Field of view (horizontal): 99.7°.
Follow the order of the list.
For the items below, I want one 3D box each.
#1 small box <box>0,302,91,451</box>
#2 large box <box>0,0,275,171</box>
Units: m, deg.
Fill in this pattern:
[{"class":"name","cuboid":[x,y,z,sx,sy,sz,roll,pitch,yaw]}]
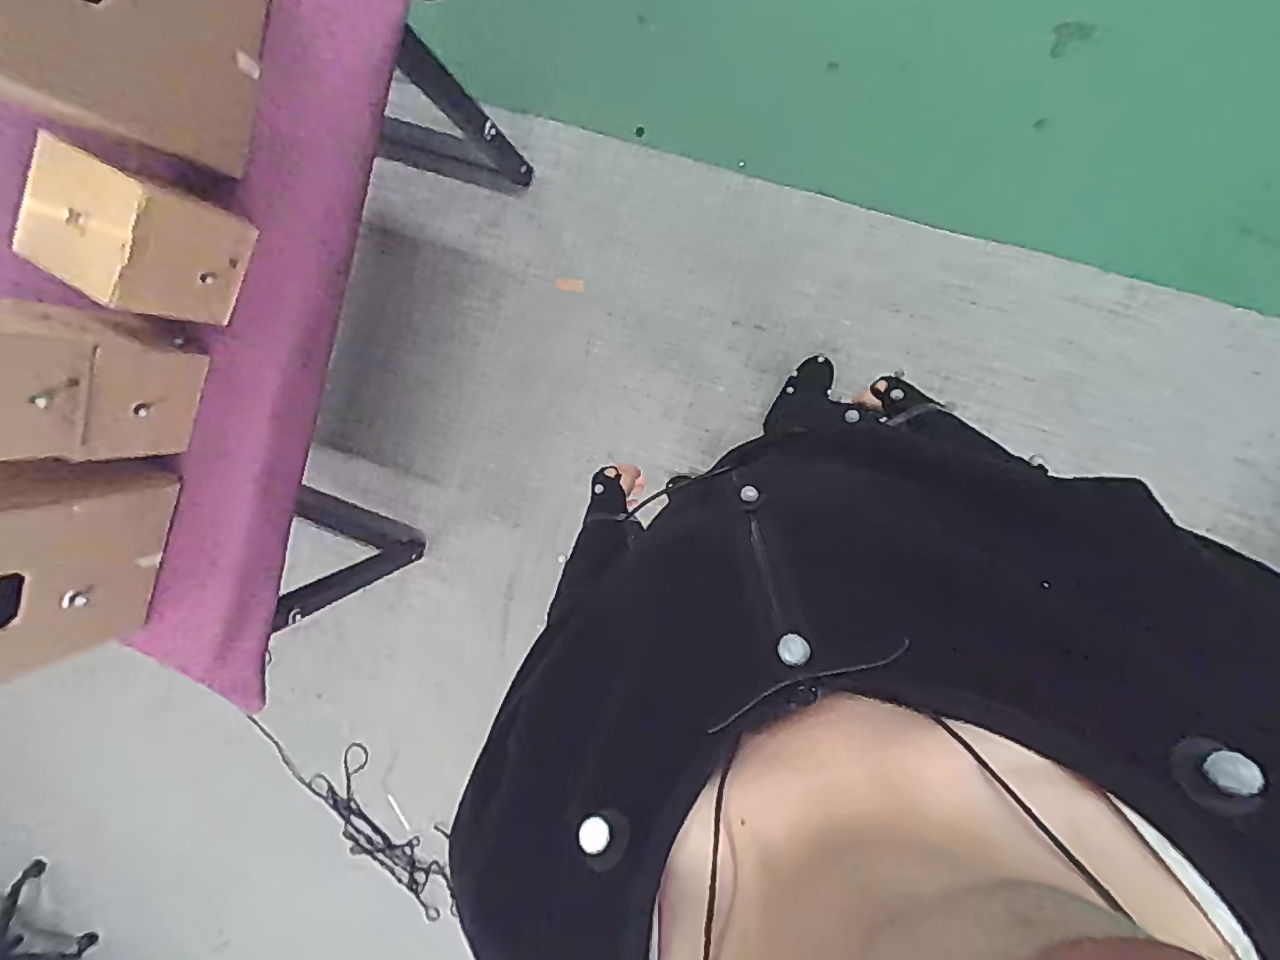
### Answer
[{"class":"small box","cuboid":[-0.846,-0.134,0.660,0.179,0.176,0.168,21,101,6]},{"class":"large box","cuboid":[-0.769,-0.651,0.678,0.408,0.320,0.320,19,103,6]}]
